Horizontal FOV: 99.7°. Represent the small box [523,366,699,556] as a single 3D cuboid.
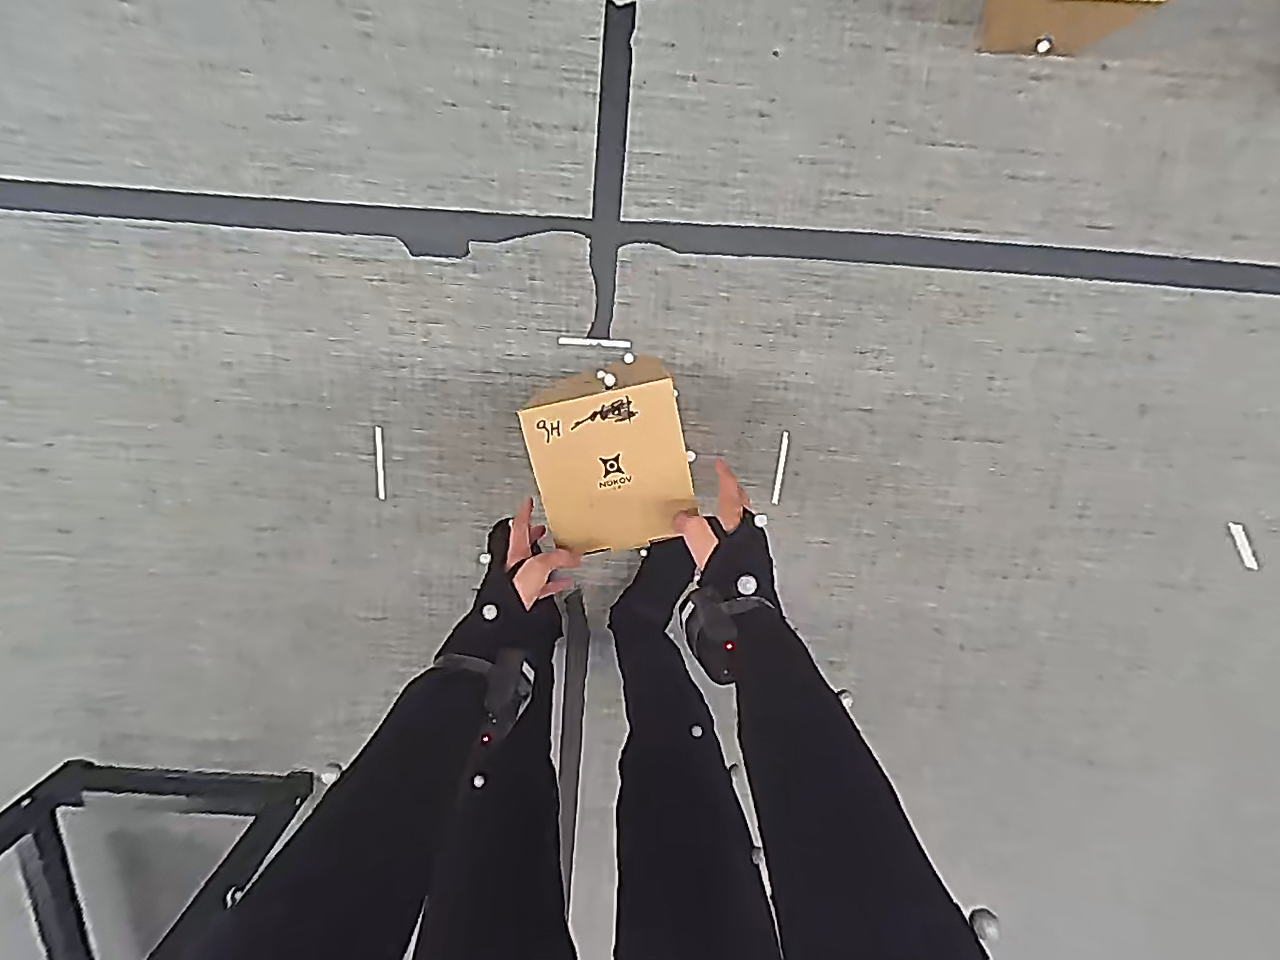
[{"bbox_3d":[-0.028,-0.032,0.664,0.168,0.176,0.179,-12,107,3],"label":"small box"}]
